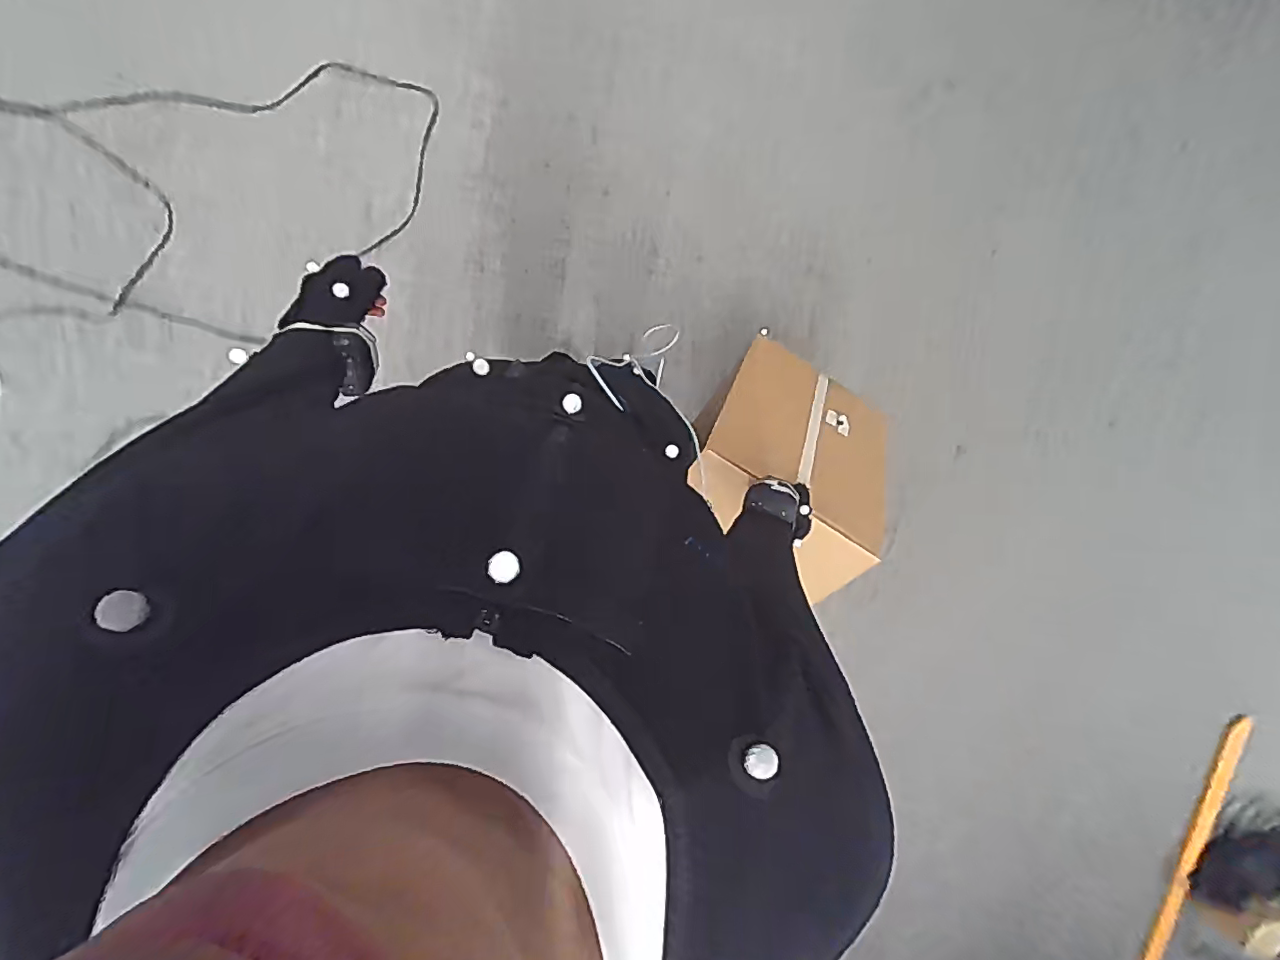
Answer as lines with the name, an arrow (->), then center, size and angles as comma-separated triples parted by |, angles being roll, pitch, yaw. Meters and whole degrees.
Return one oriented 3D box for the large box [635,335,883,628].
large box -> 0.233, 0.000, 1.044 | 0.320, 0.408, 0.320 | 32, 134, -4
